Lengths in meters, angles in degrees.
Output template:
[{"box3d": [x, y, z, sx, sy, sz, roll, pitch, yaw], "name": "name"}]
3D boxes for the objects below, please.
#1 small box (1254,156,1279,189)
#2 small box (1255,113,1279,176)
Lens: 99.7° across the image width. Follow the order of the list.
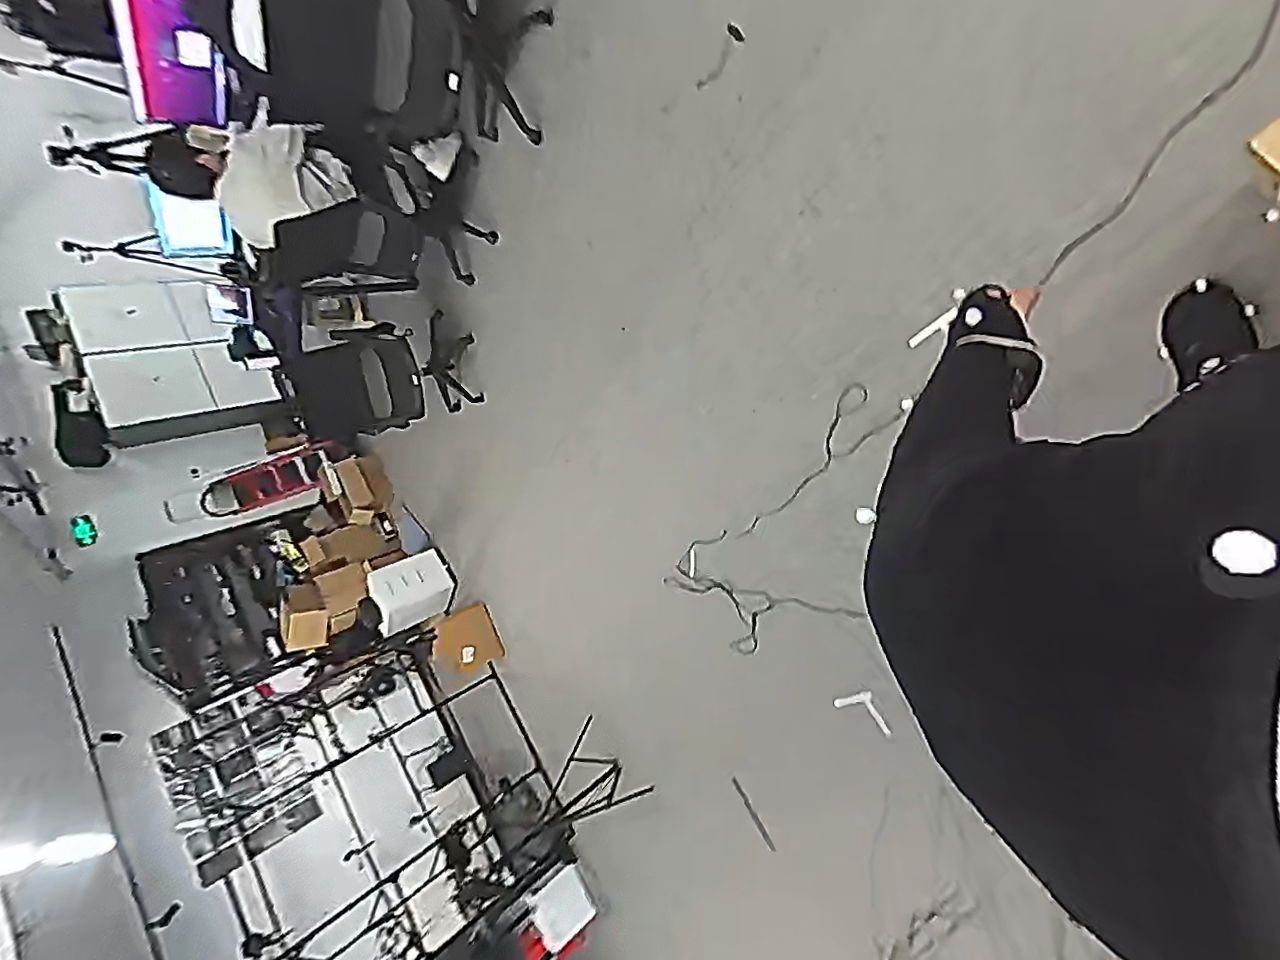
[{"box3d": [0.963, -0.433, 0.692, 0.168, 0.176, 0.179, 54, 138, 15], "name": "small box"}, {"box3d": [0.842, -0.387, 0.591, 0.179, 0.176, 0.168, 57, 140, 14], "name": "small box"}]
